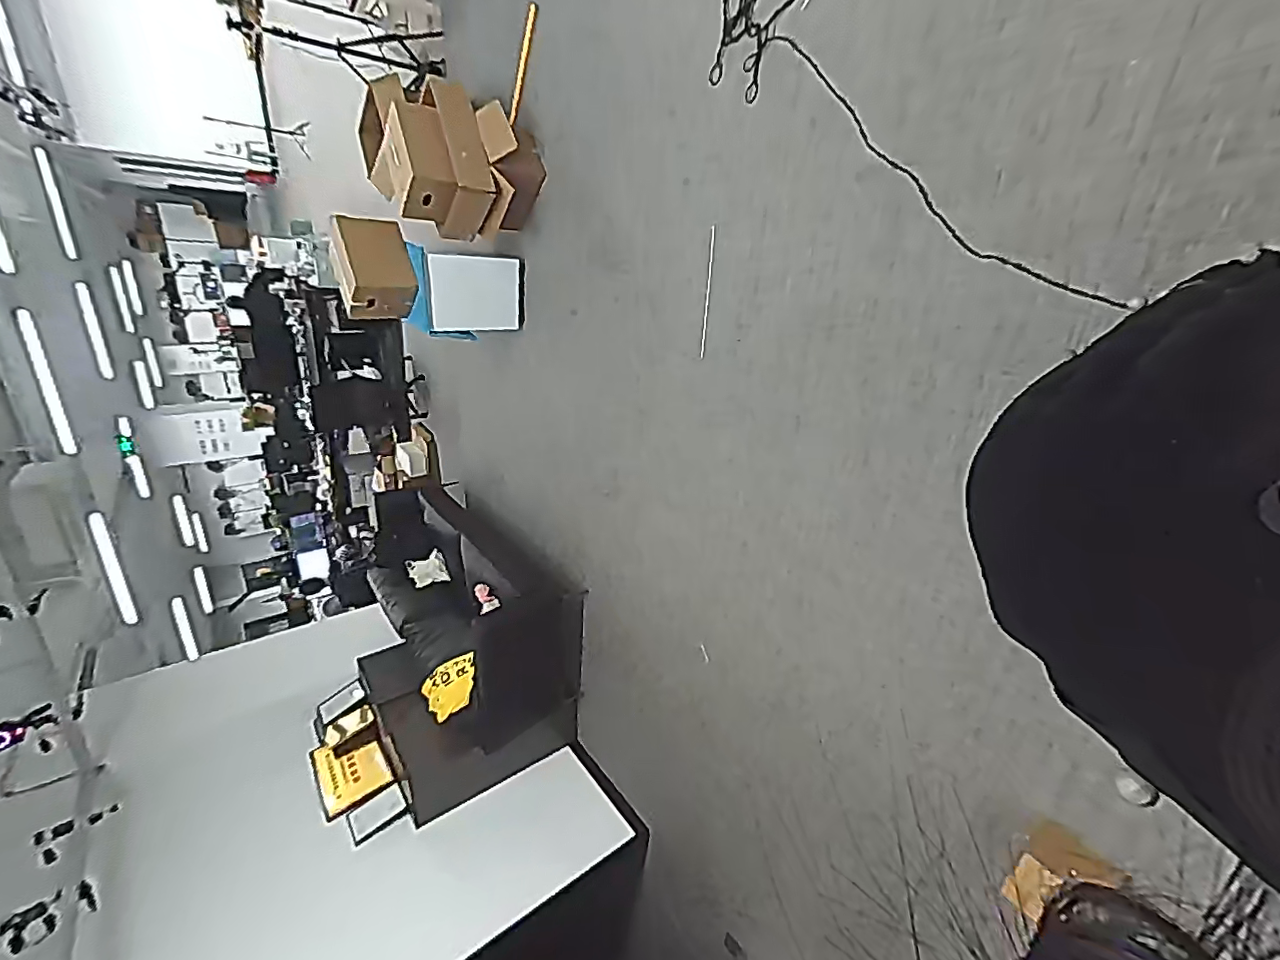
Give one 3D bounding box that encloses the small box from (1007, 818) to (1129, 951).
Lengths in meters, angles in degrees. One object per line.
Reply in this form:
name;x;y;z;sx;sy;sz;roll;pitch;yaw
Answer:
small box;1.084;1.012;1.369;0.179;0.176;0.168;34;126;44
